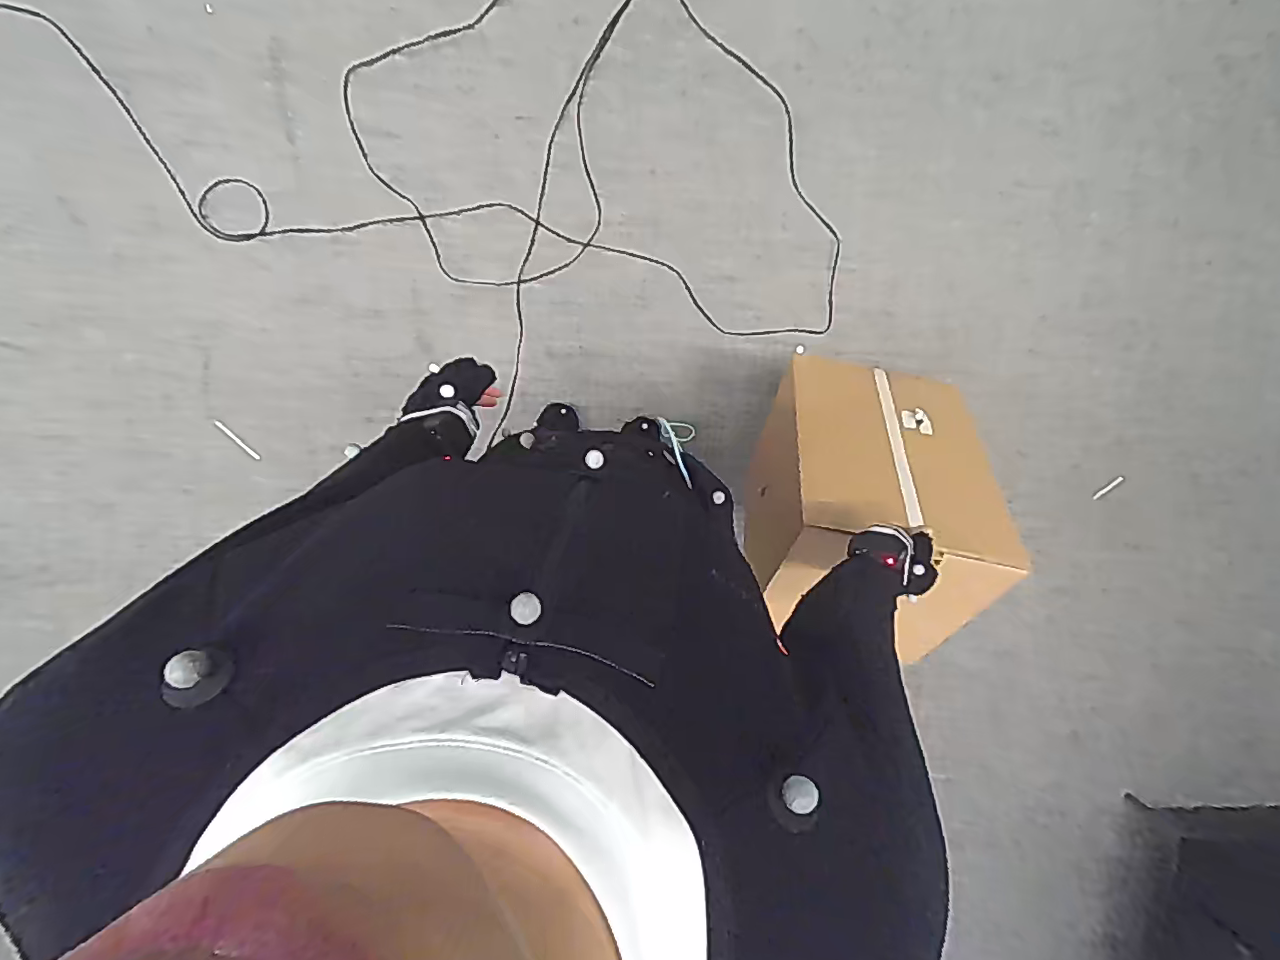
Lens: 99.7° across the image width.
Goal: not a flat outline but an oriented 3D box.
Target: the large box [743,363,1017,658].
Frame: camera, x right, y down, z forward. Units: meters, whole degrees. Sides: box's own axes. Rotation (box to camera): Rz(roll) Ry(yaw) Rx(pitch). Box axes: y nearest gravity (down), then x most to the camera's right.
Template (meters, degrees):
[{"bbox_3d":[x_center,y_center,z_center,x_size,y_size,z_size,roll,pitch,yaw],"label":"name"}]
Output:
[{"bbox_3d":[0.378,0.052,0.982,0.320,0.408,0.320,13,136,0],"label":"large box"}]
